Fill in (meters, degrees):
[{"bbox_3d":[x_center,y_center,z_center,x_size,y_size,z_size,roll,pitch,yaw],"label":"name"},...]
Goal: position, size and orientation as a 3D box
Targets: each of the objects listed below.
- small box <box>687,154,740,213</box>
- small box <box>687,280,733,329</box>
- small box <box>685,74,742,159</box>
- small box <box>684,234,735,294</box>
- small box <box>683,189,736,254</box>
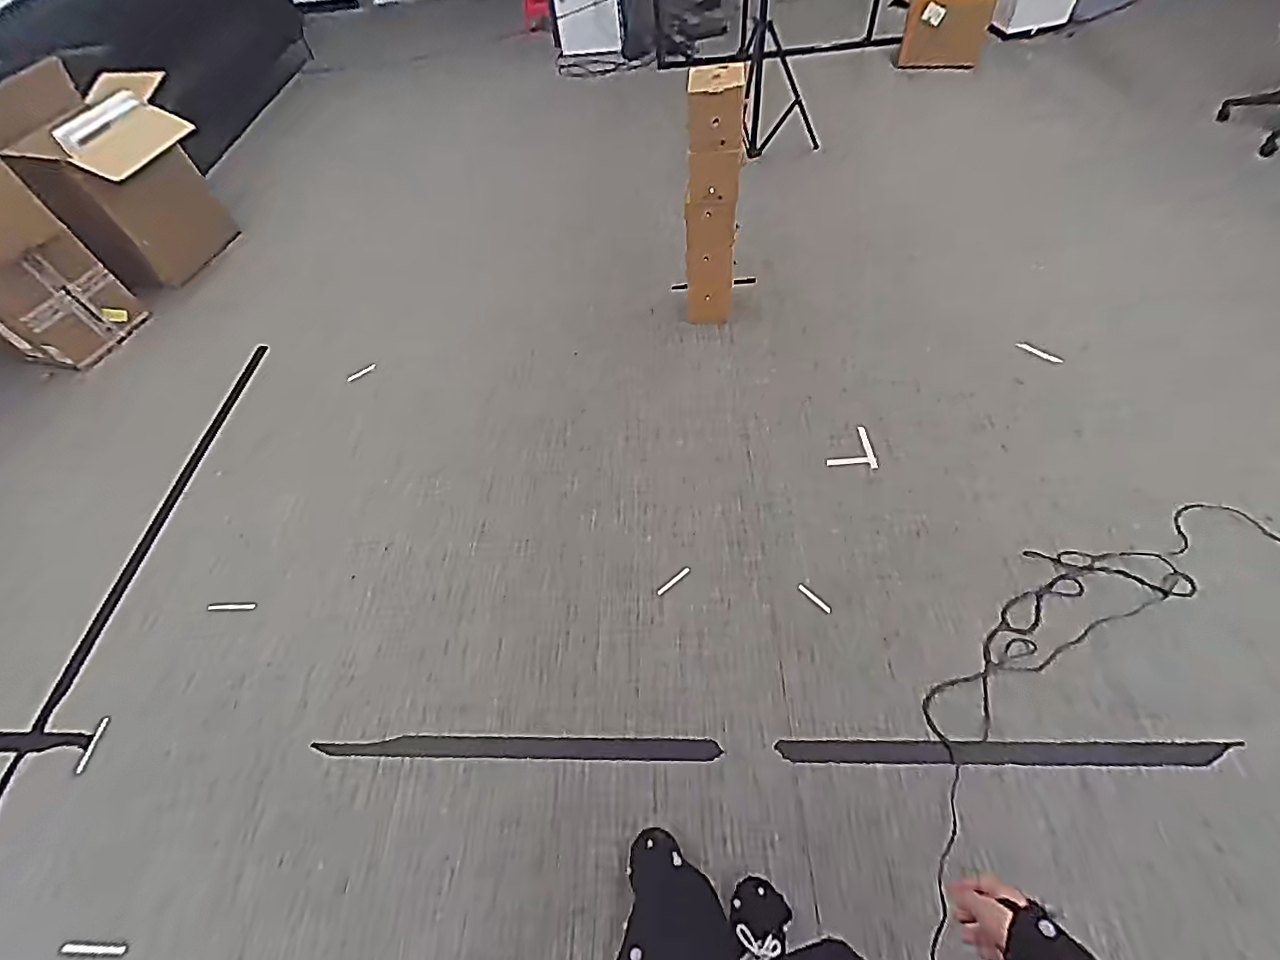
[{"bbox_3d":[0.248,-1.022,1.812,0.168,0.176,0.179,2,57,10],"label":"small box"},{"bbox_3d":[0.285,-0.731,2.205,0.179,0.176,0.168,3,56,9],"label":"small box"},{"bbox_3d":[0.232,-1.123,1.683,0.168,0.176,0.179,1,57,8],"label":"small box"},{"bbox_3d":[0.269,-0.832,2.076,0.179,0.176,0.168,5,57,11],"label":"small box"},{"bbox_3d":[0.253,-0.931,1.949,0.179,0.176,0.168,3,57,9],"label":"small box"}]
